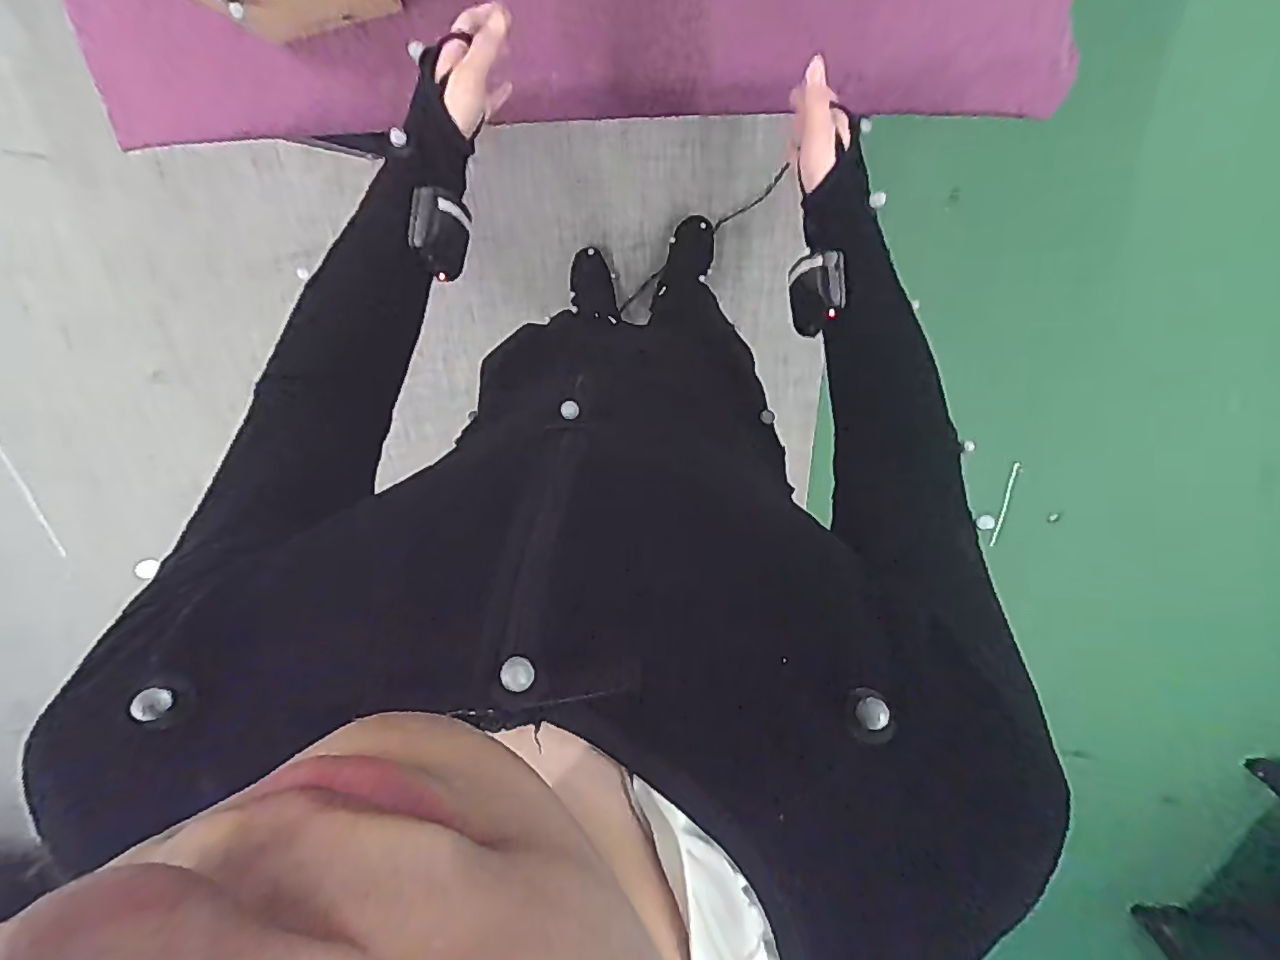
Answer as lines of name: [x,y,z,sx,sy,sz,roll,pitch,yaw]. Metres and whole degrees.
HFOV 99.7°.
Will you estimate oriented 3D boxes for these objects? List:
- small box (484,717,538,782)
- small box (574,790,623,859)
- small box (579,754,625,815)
small box: [-0.504,1.059,2.134,0.179,0.176,0.168,2,116,-2]
small box: [-0.158,1.326,2.086,0.179,0.176,0.168,0,115,-2]
small box: [-0.154,1.256,2.232,0.179,0.176,0.168,1,116,-1]
